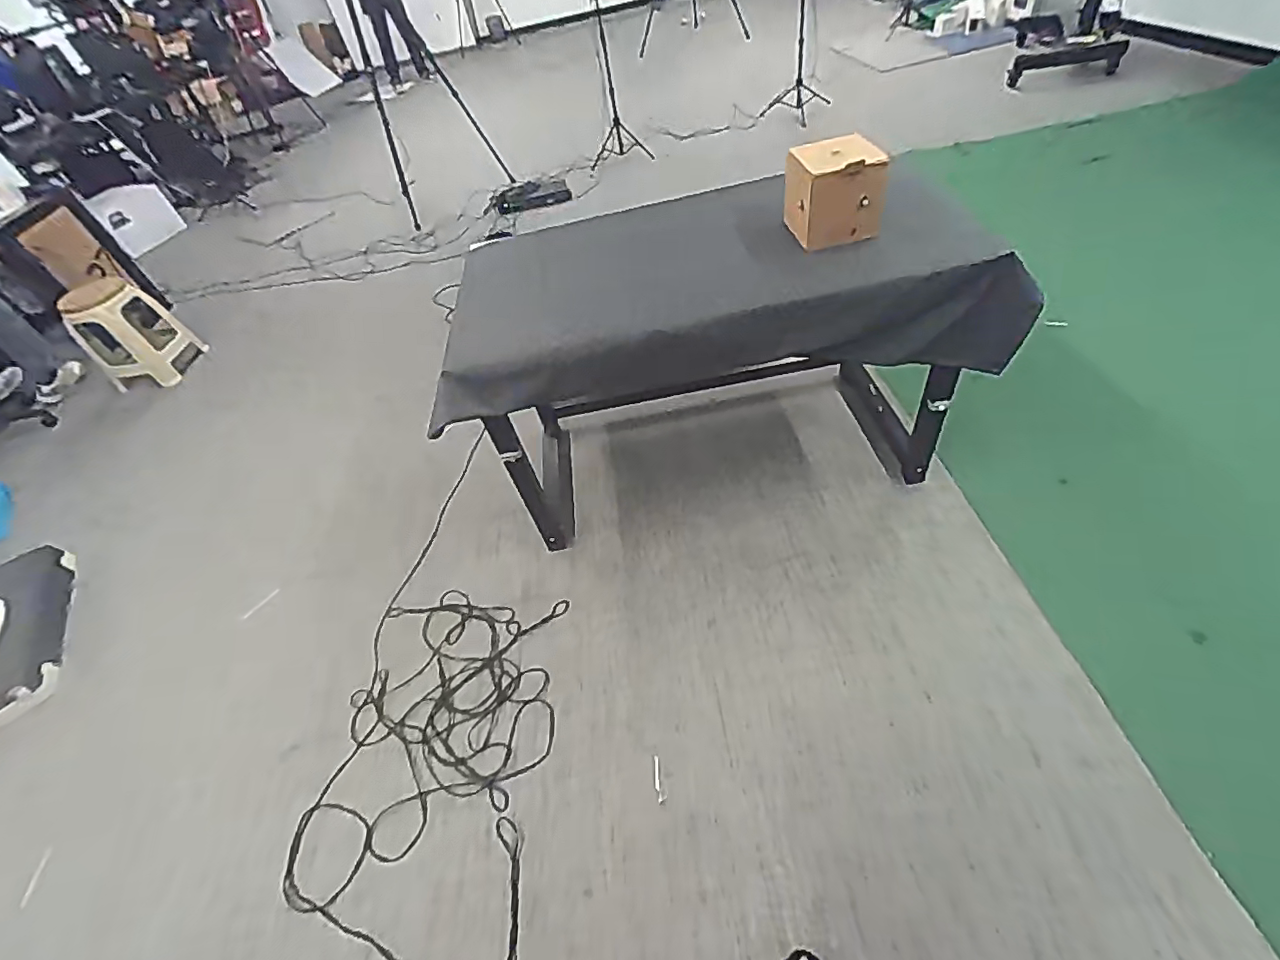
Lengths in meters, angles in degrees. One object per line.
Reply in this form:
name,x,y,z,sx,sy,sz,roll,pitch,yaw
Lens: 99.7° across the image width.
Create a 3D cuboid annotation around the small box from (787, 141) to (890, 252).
small box,0.440,-0.635,1.226,0.168,0.176,0.179,-11,46,1
